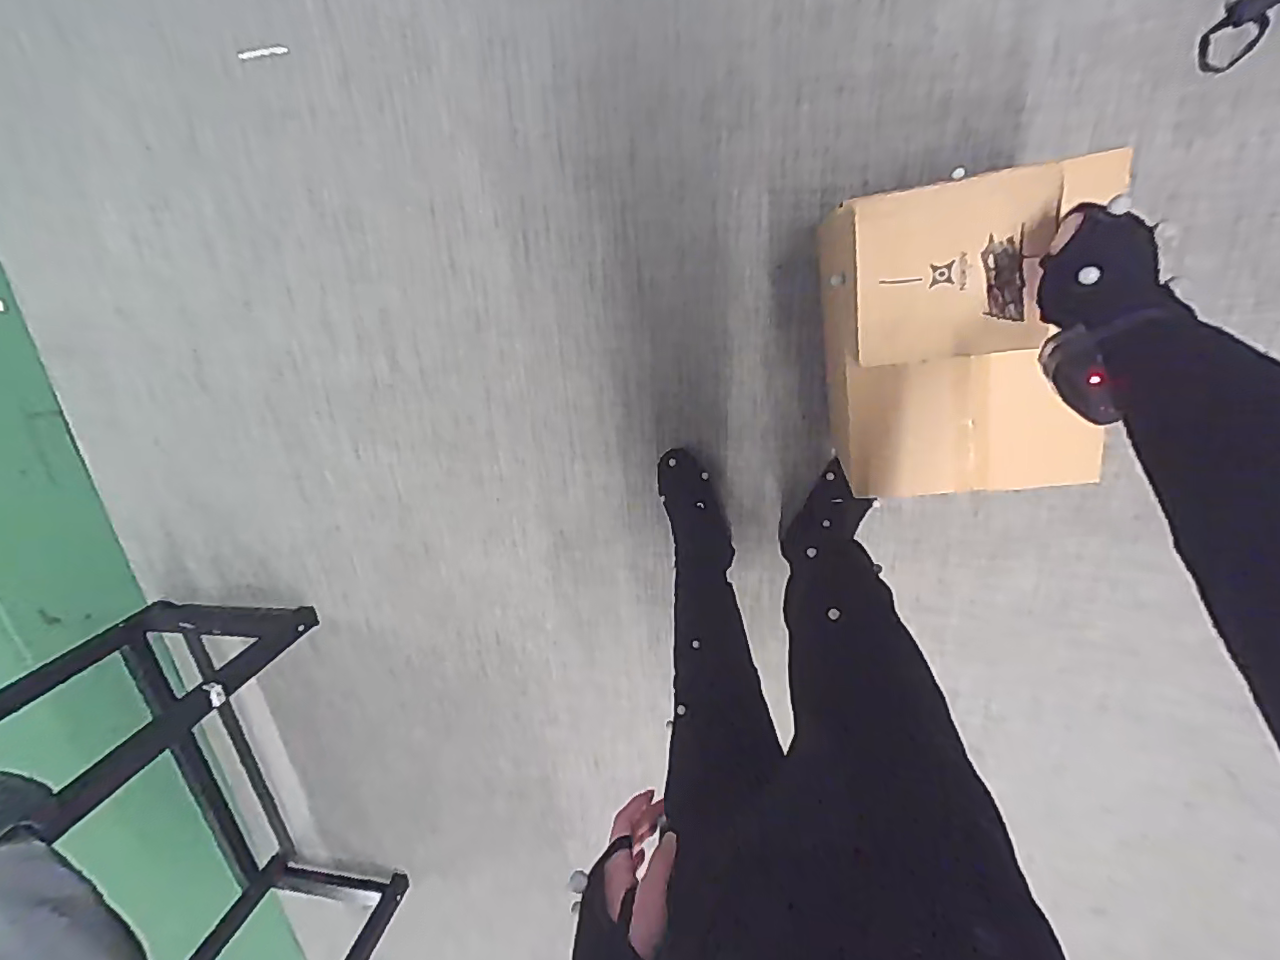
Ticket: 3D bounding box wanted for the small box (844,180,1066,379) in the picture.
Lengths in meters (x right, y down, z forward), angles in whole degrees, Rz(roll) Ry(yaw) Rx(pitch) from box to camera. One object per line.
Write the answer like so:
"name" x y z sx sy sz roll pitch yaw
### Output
"small box" 0.330 -0.217 0.603 0.179 0.176 0.168 -4 109 18
